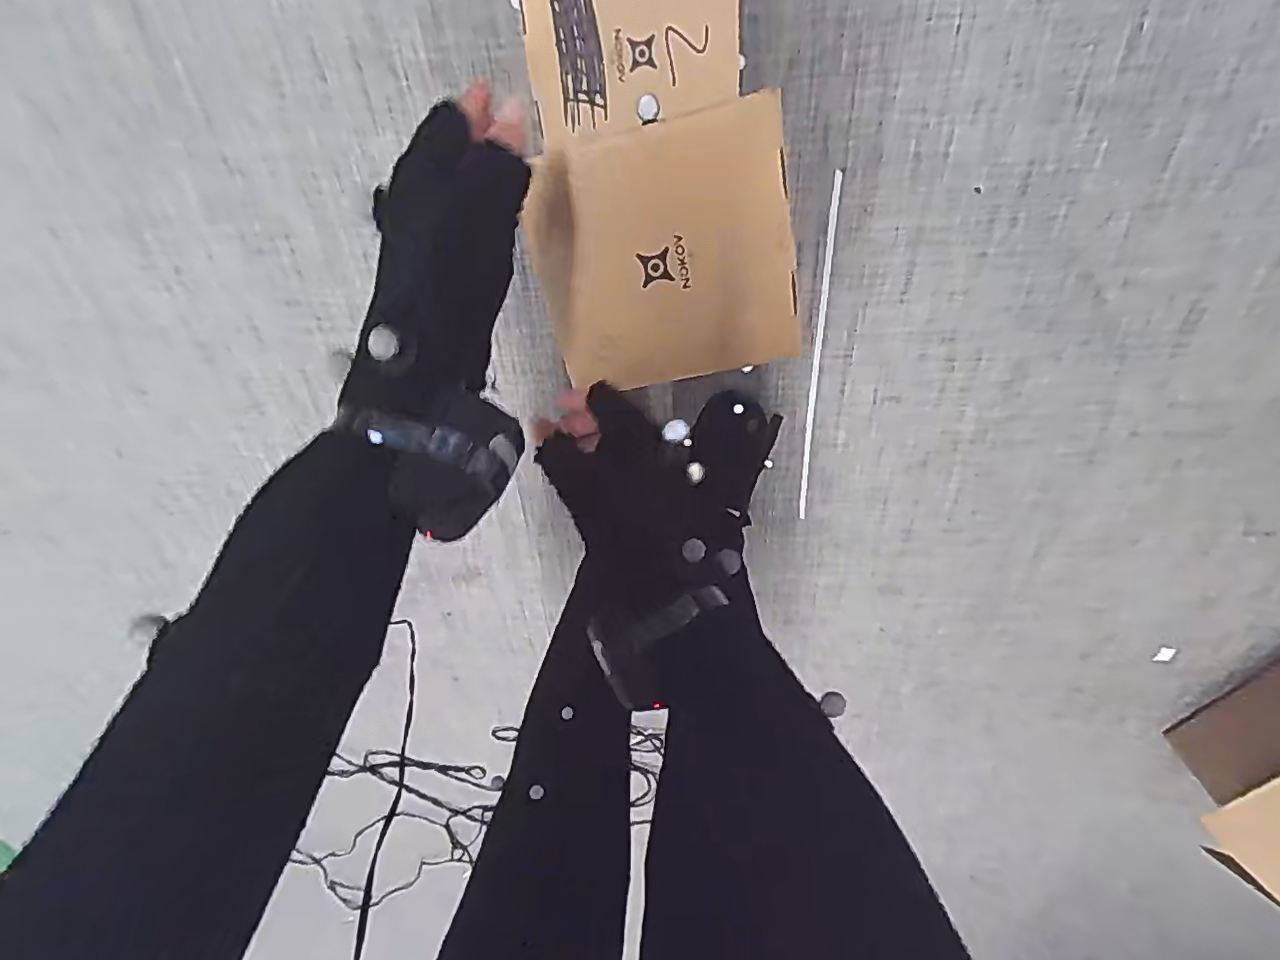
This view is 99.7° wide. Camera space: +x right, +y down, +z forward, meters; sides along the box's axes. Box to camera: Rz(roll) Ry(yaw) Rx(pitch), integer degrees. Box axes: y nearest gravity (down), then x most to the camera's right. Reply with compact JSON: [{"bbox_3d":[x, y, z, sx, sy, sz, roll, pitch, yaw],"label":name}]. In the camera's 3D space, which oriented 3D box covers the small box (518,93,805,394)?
[{"bbox_3d":[0.027,-0.188,0.443,0.179,0.176,0.168,-9,119,10],"label":"small box"}]
